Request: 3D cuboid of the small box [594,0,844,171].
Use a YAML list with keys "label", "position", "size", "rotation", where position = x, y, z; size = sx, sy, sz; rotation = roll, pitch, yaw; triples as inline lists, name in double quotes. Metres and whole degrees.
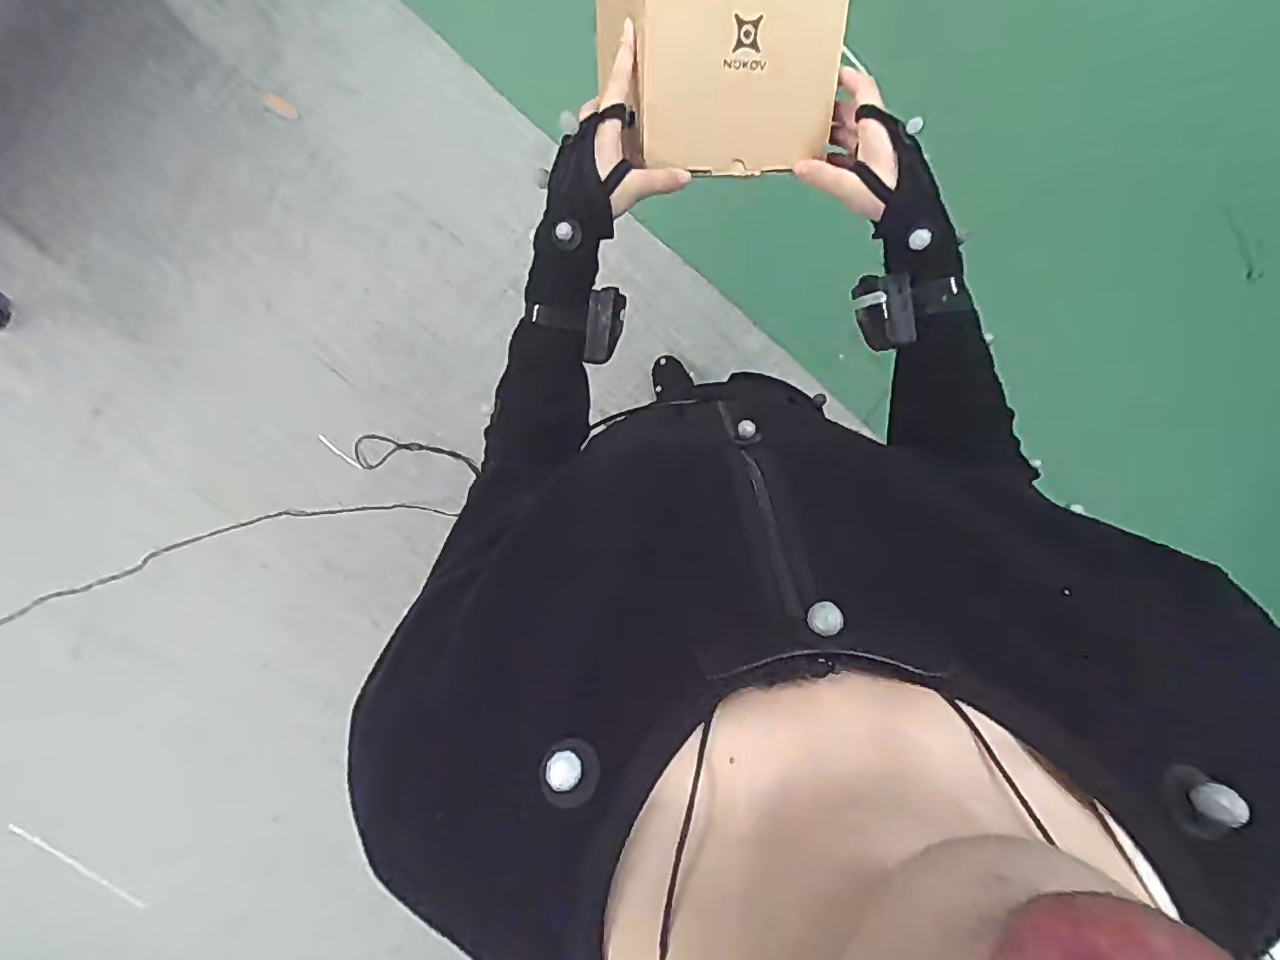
- label: "small box"
  position: [0.055, -0.373, 0.471]
  size: [0.168, 0.176, 0.179]
  rotation: [-8, 120, -11]
